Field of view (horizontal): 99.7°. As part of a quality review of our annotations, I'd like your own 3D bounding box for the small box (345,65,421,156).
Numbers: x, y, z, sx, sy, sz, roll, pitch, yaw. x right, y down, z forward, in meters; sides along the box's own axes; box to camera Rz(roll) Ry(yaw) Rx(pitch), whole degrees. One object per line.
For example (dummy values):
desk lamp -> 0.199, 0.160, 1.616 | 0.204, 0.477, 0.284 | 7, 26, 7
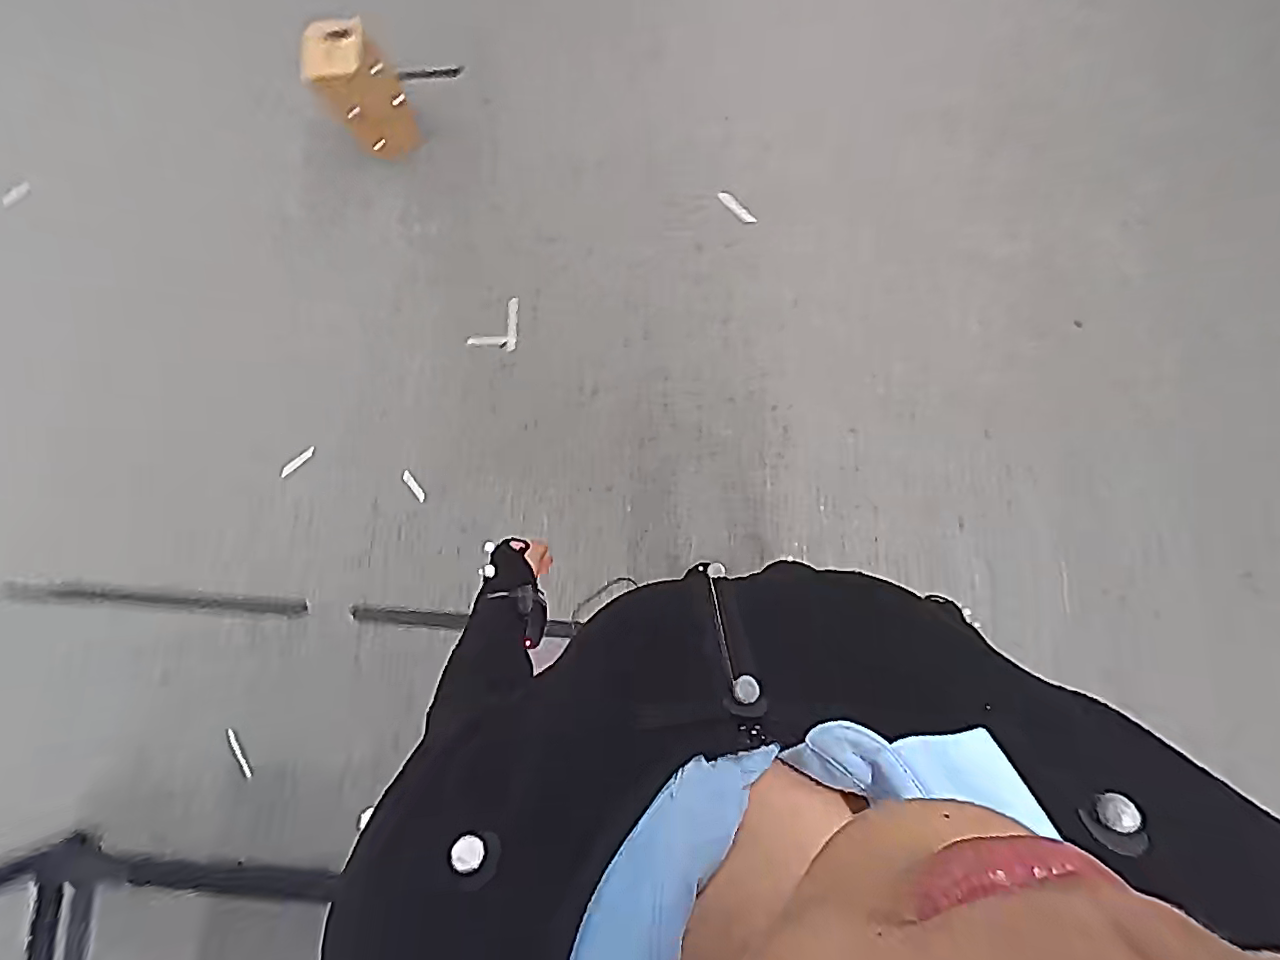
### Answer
small box -> -0.838, -1.211, 1.779 | 0.168, 0.176, 0.179 | -4, 80, 5
